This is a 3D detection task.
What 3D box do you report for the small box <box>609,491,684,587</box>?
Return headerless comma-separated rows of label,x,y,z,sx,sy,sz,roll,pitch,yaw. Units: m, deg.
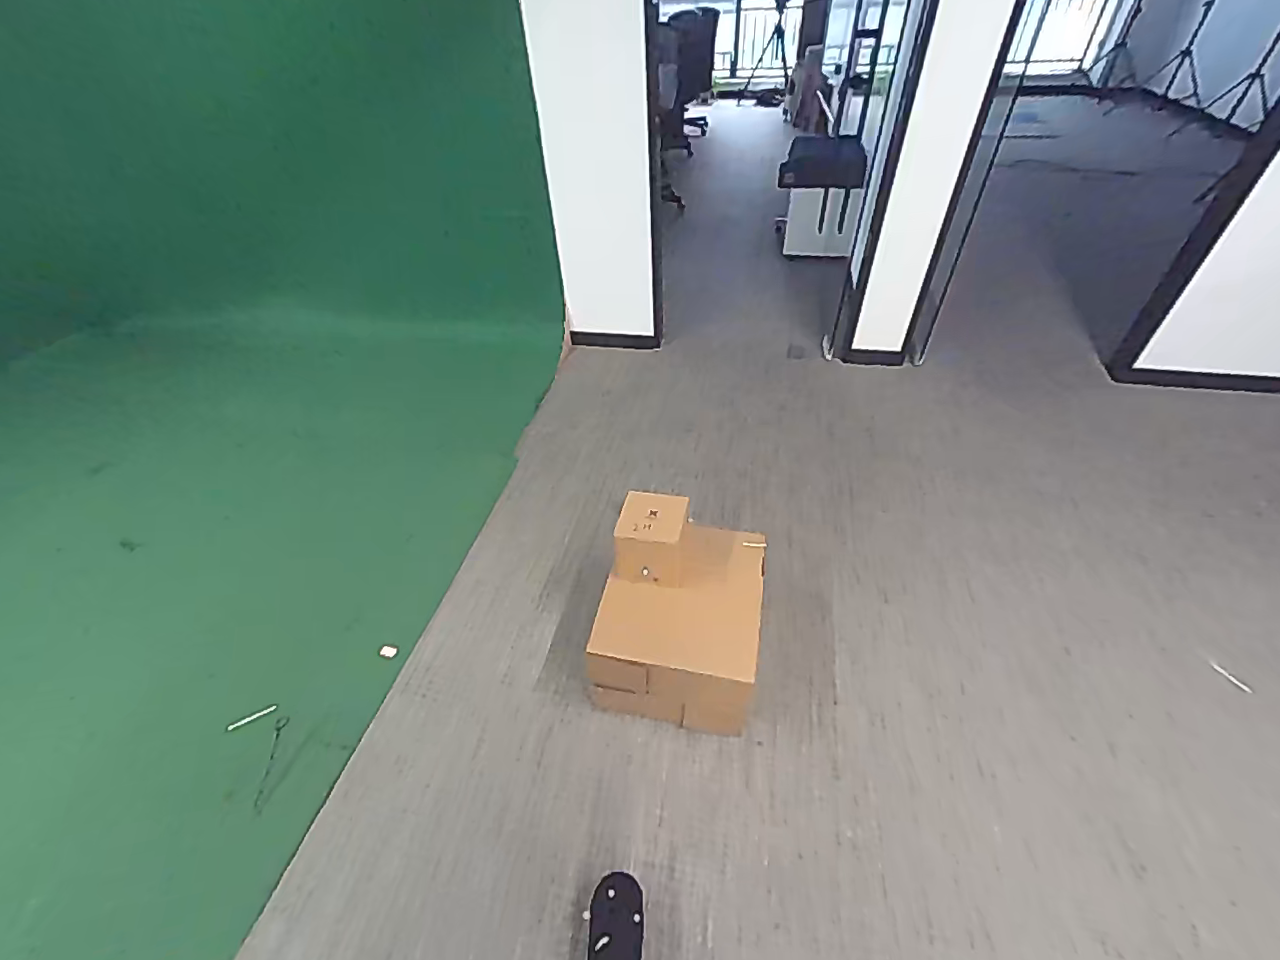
small box,0.021,0.157,1.436,0.168,0.176,0.179,6,41,11
